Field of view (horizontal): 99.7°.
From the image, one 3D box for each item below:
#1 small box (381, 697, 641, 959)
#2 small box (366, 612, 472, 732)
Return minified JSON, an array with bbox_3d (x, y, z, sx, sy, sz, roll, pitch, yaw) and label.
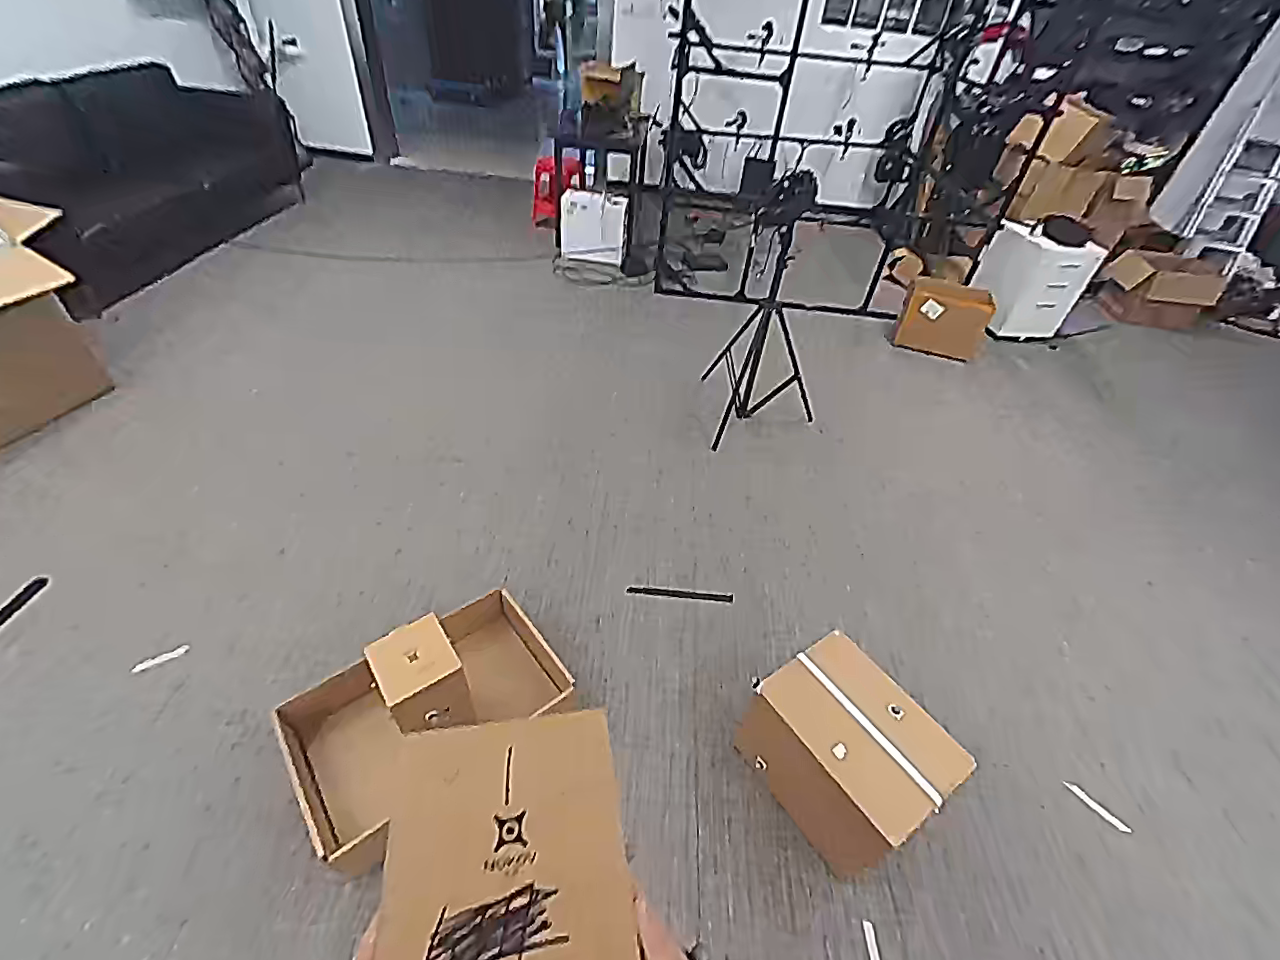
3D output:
[{"bbox_3d":[-0.102,0.305,0.447,0.168,0.176,0.179,-2,48,-13],"label":"small box"},{"bbox_3d":[-0.510,0.452,1.261,0.168,0.176,0.179,-26,51,-29],"label":"small box"}]
